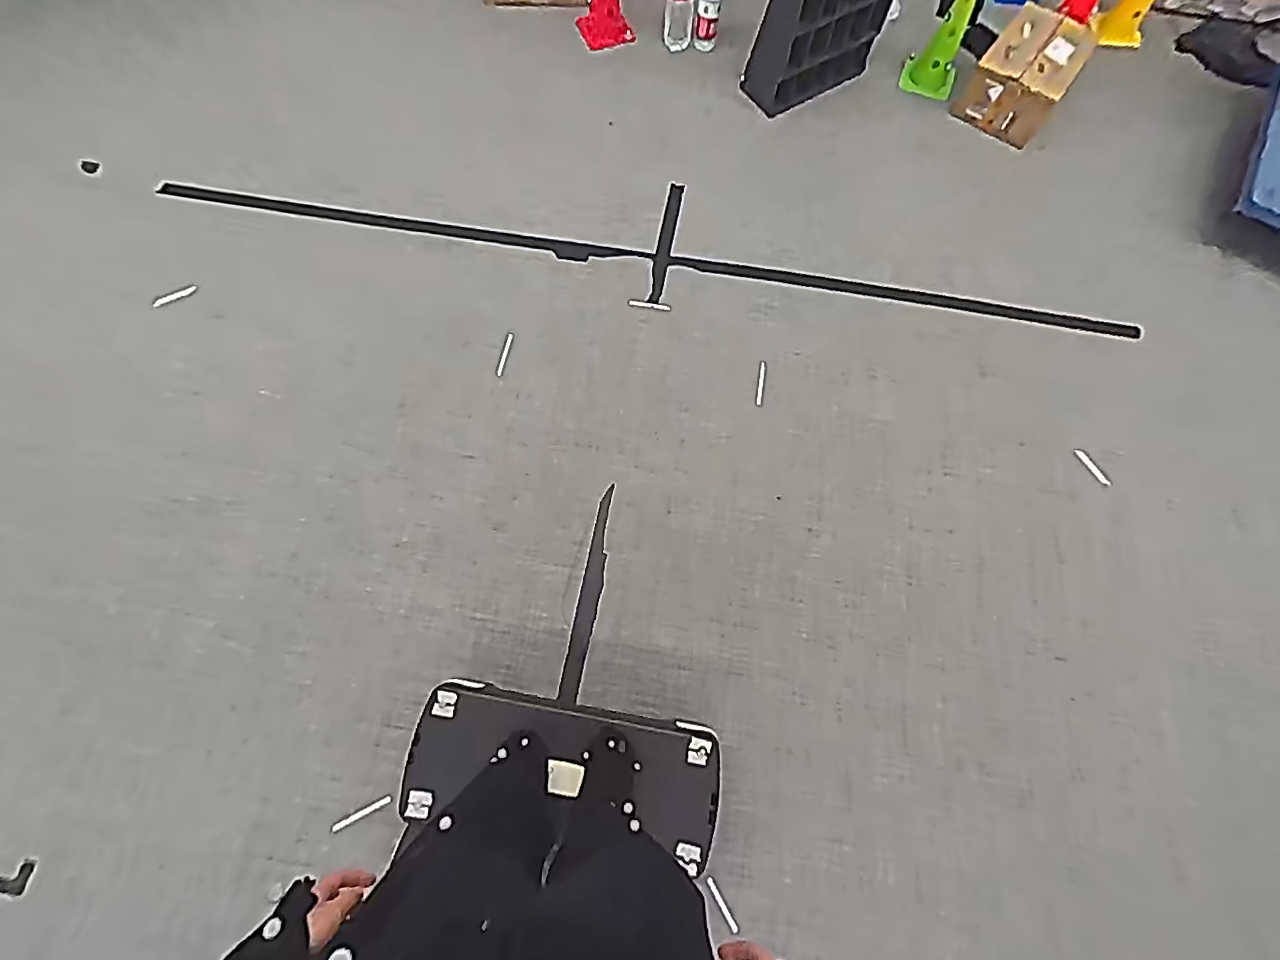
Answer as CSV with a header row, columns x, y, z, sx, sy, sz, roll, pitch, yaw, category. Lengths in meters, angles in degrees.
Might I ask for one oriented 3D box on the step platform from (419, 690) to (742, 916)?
x,y,z,sx,sy,sz,roll,pitch,yaw,category
-0.122,0.697,1.207,0.684,0.204,0.286,14,69,3,step platform
